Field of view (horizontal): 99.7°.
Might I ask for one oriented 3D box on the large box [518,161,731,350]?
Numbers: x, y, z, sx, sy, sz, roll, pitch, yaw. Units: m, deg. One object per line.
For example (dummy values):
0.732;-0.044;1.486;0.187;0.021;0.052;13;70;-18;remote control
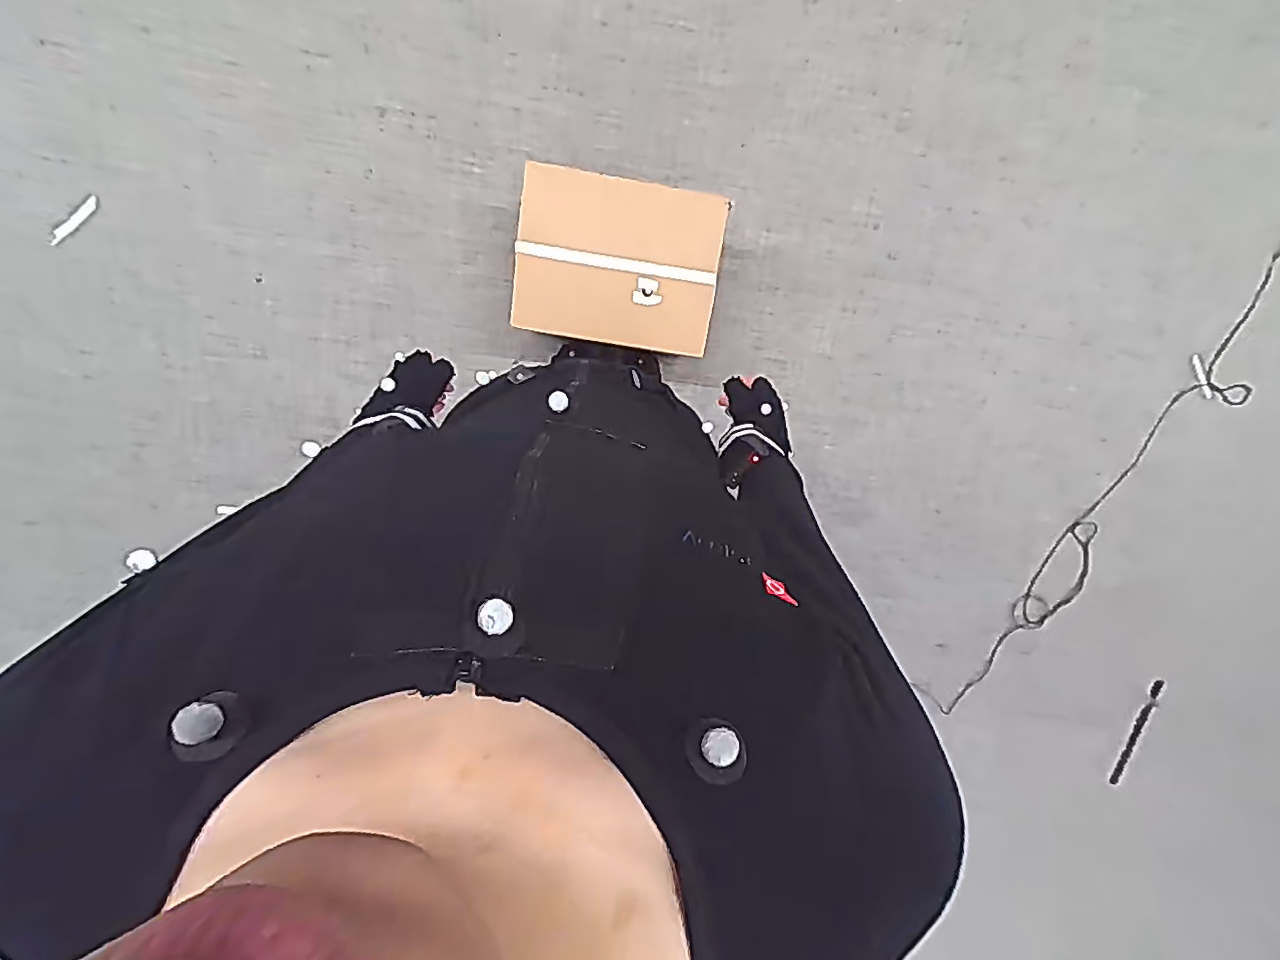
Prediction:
-0.044;-0.478;1.228;0.408;0.320;0.320;8;104;-5;large box
